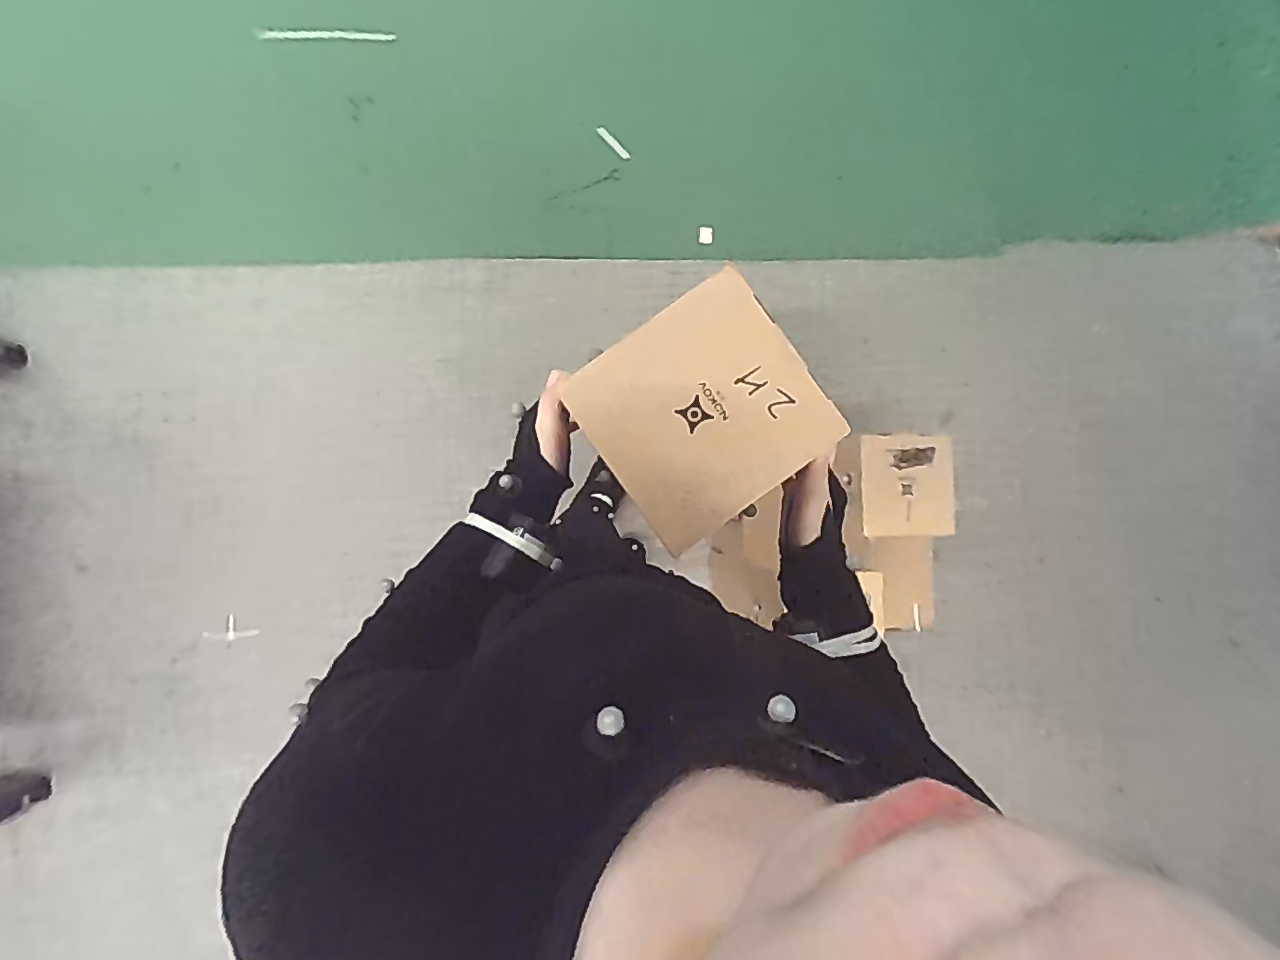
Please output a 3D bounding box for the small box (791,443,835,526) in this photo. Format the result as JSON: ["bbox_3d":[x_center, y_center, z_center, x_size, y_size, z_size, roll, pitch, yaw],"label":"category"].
[{"bbox_3d":[0.440,0.013,1.156,0.179,0.176,0.168,0,87,-6],"label":"small box"}]

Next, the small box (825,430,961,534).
[{"bbox_3d":[0.452,0.009,0.990,0.168,0.176,0.179,-1,86,-5],"label":"small box"}]

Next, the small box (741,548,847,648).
[{"bbox_3d":[0.316,0.240,1.133,0.168,0.176,0.179,-2,87,-6],"label":"small box"}]
